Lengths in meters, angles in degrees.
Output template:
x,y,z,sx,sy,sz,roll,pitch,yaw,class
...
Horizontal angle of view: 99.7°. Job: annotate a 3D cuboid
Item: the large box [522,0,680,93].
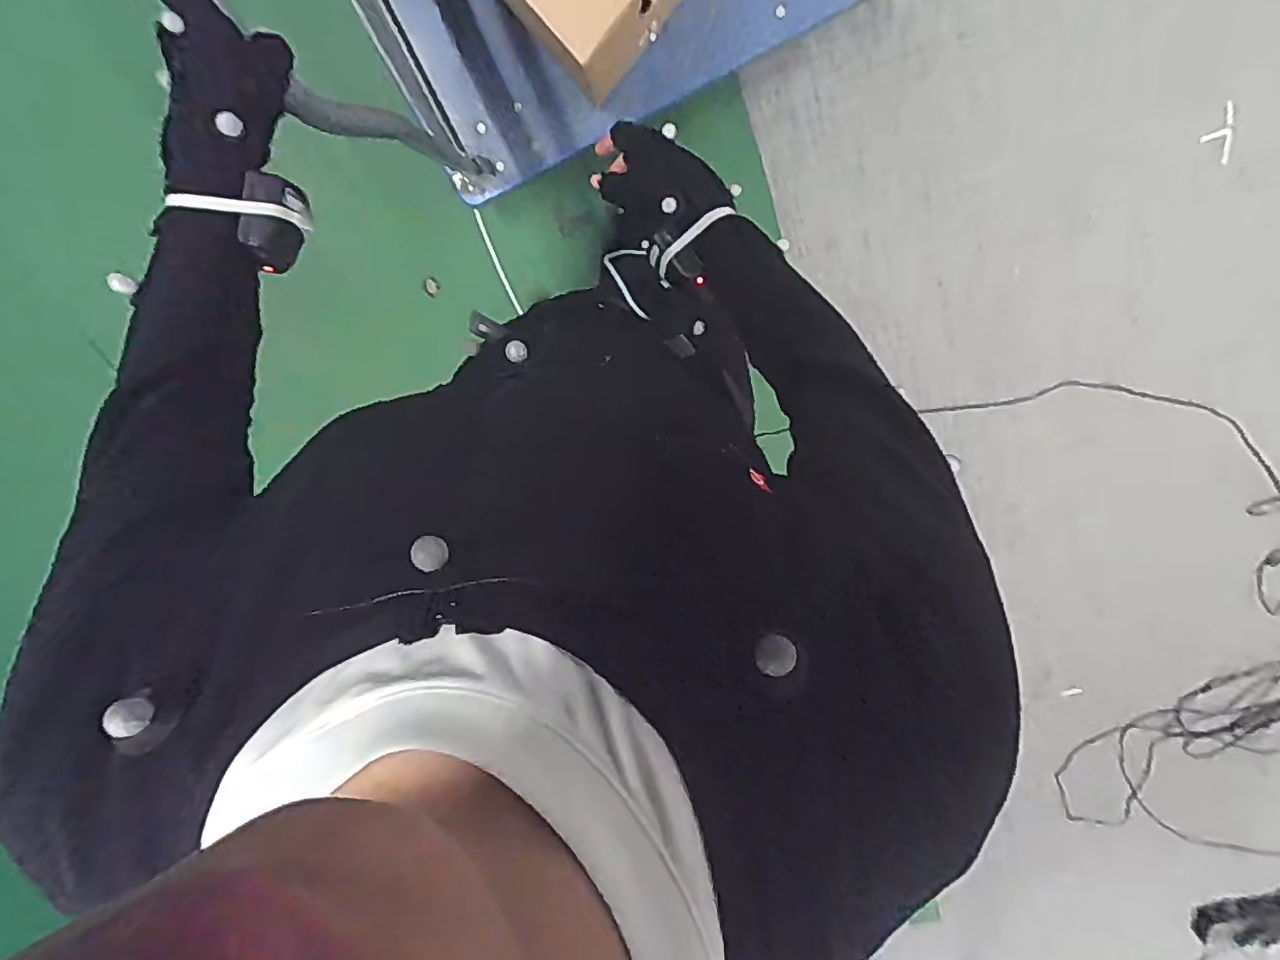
x,y,z,sx,sy,sz,roll,pitch,yaw,class
-0.102,-0.872,0.771,0.320,0.320,0.408,-41,109,18,large box
